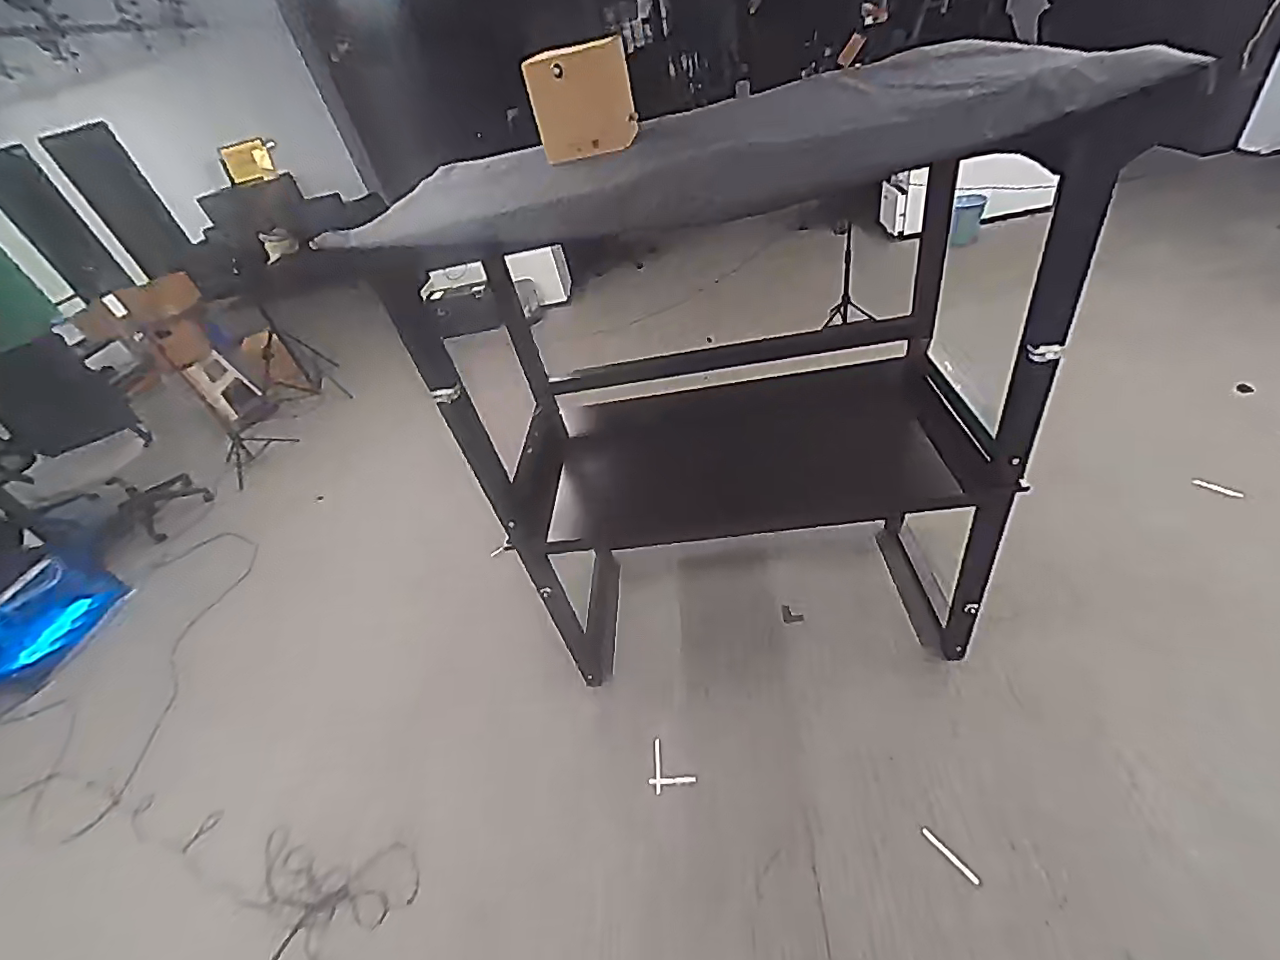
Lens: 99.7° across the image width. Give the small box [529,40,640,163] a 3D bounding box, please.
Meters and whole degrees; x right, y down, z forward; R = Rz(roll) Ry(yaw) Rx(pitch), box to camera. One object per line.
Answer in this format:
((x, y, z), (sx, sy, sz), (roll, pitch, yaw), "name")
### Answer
((-0.099, -0.750, 1.075), (0.168, 0.176, 0.179), (-4, 40, 13), "small box")
